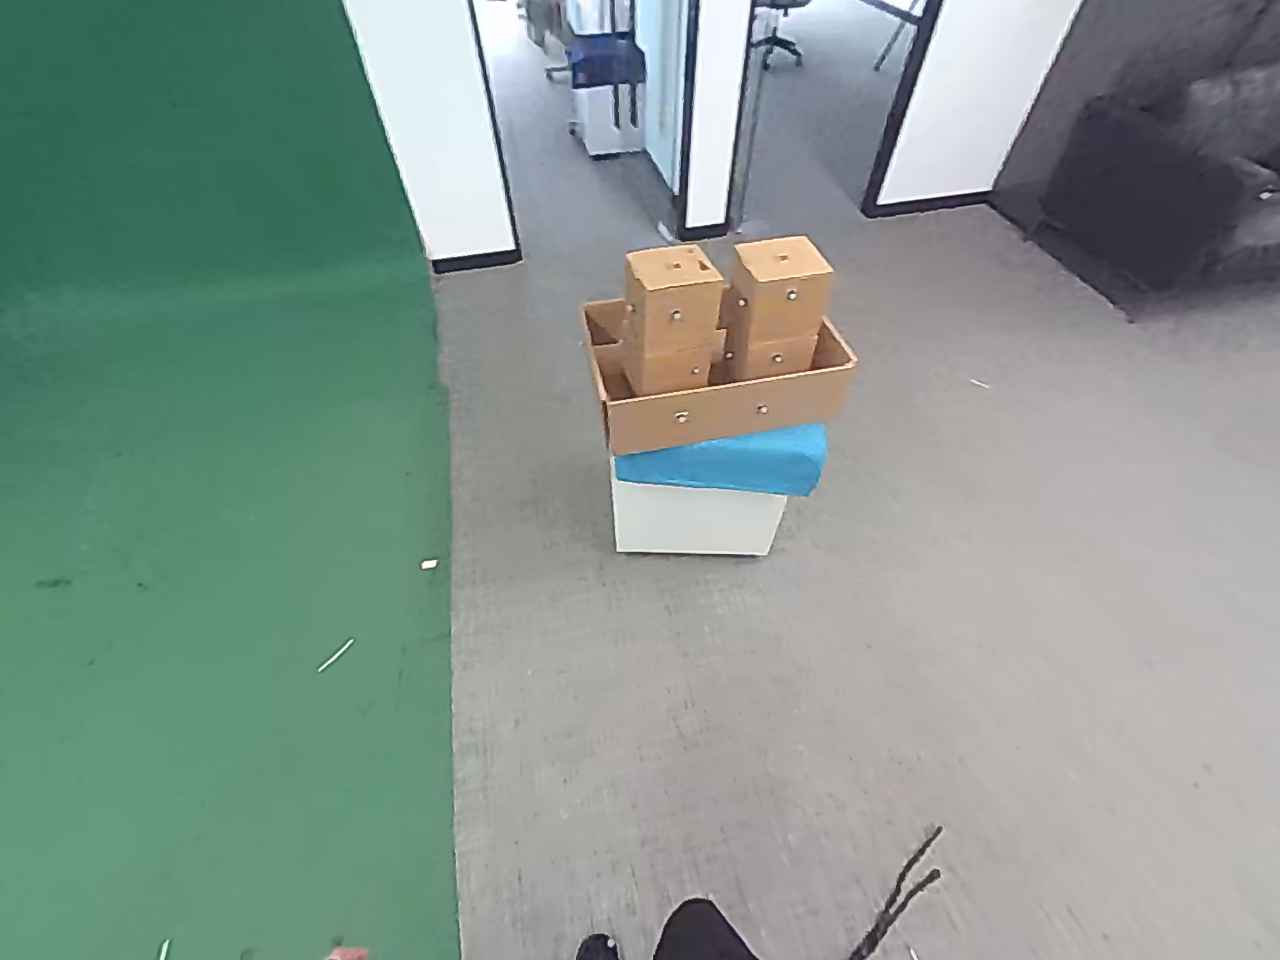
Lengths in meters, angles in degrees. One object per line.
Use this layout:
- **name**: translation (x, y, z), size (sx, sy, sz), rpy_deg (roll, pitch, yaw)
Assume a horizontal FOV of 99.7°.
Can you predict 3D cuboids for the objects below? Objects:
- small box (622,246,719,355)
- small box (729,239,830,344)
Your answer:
- **small box**: translation (0.065, -0.408, 1.241), size (0.179, 0.176, 0.168), rpy_deg (-13, 52, -11)
- **small box**: translation (0.312, -0.436, 1.262), size (0.179, 0.176, 0.168), rpy_deg (-9, 51, -6)
